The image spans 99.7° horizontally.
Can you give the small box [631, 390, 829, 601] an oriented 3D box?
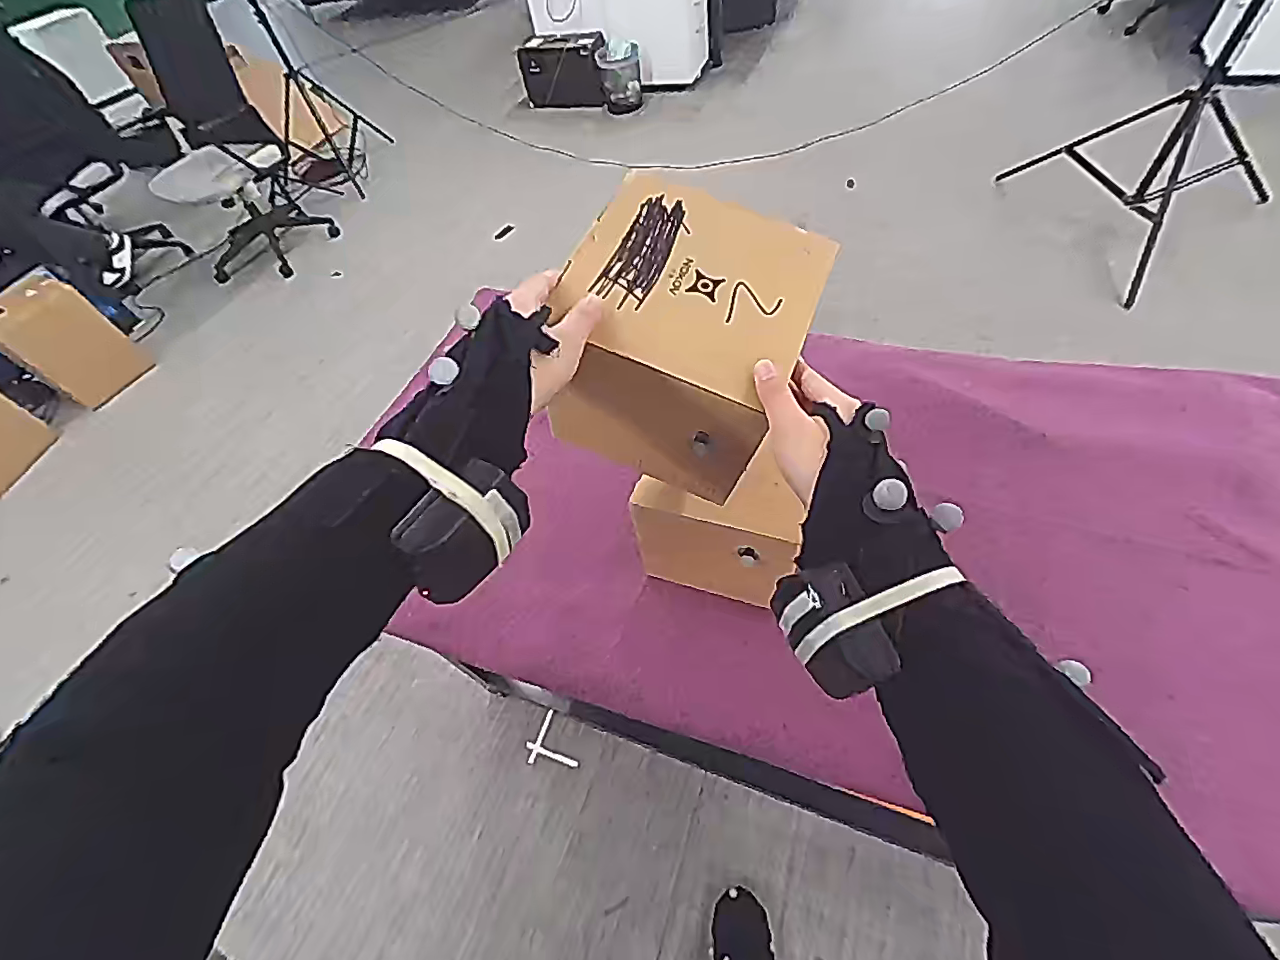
[{"bbox_3d":[0.108,0.023,0.636,0.179,0.176,0.168,13,56,18],"label":"small box"}]
